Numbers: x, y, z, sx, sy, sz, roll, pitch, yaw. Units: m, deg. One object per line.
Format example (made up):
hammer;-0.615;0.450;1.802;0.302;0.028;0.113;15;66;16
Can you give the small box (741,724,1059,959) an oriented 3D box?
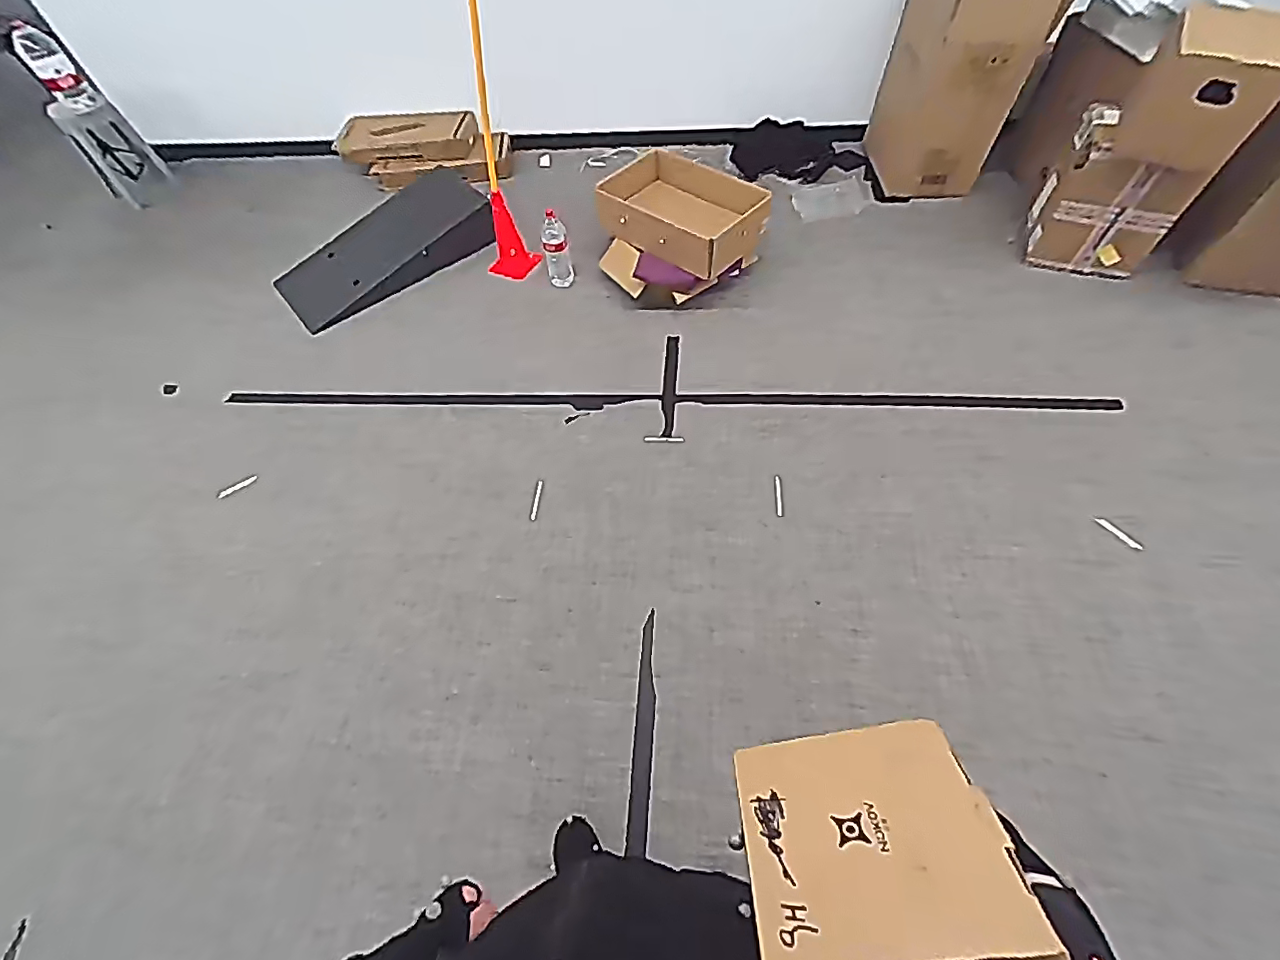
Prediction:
small box;0.189;0.333;0.436;0.179;0.176;0.168;-13;22;8
